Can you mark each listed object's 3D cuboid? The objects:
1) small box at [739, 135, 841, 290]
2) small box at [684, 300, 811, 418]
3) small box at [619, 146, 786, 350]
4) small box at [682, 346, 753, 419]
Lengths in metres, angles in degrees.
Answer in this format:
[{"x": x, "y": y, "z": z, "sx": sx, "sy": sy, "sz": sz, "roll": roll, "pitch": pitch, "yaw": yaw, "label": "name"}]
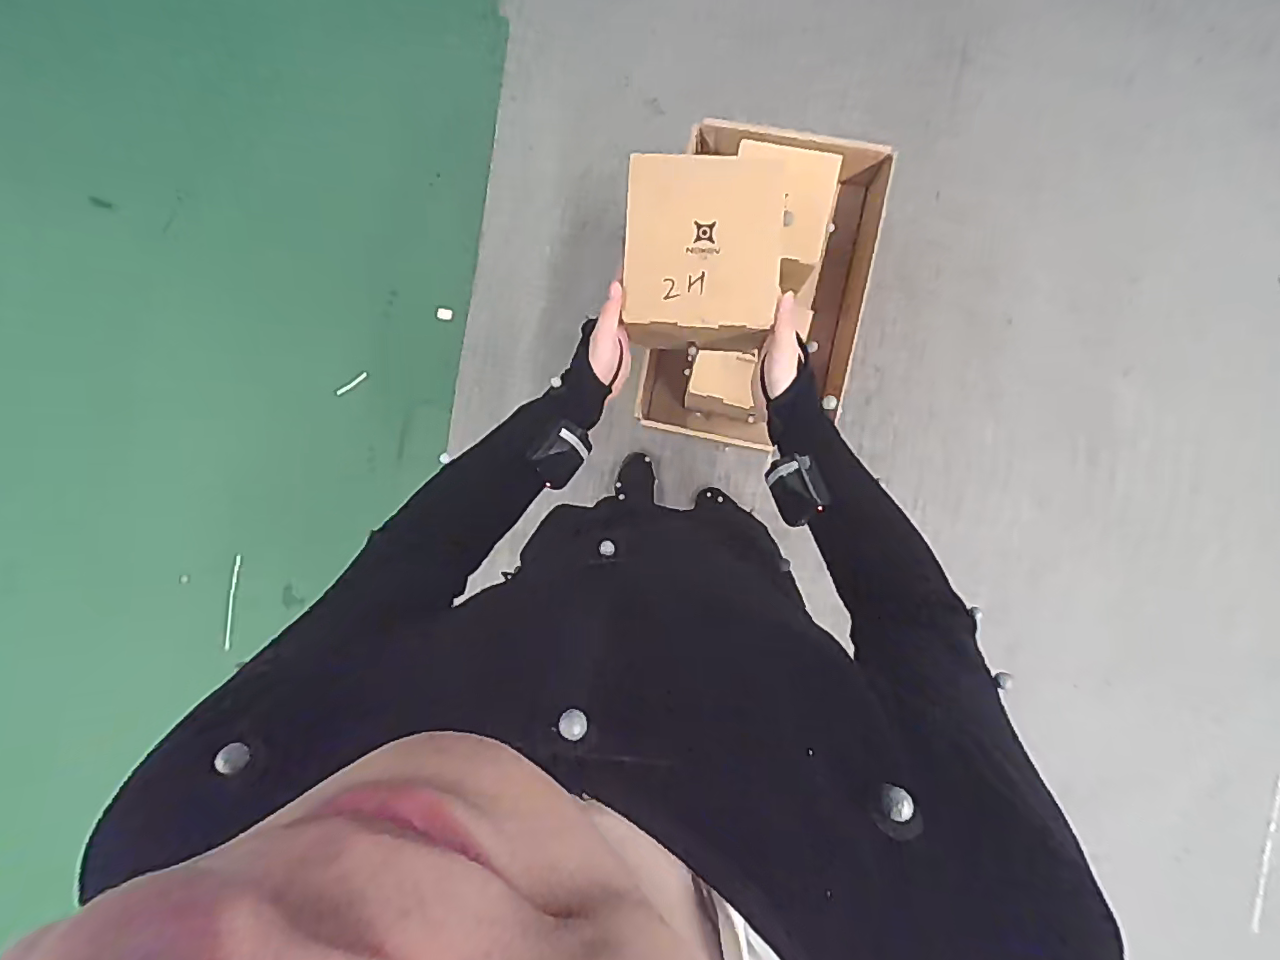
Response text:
[{"x": 0.227, "y": -0.455, "z": 0.944, "sx": 0.168, "sy": 0.176, "sz": 0.179, "roll": 12, "pitch": 95, "yaw": 3, "label": "small box"}, {"x": 0.180, "y": -0.215, "z": 0.953, "sx": 0.168, "sy": 0.176, "sz": 0.179, "roll": 15, "pitch": 93, "yaw": 3, "label": "small box"}, {"x": 0.068, "y": -0.262, "z": 0.645, "sx": 0.168, "sy": 0.176, "sz": 0.179, "roll": 4, "pitch": 95, "yaw": 3, "label": "small box"}, {"x": 0.186, "y": -0.230, "z": 1.115, "sx": 0.168, "sy": 0.176, "sz": 0.179, "roll": 13, "pitch": 92, "yaw": 4, "label": "small box"}]
